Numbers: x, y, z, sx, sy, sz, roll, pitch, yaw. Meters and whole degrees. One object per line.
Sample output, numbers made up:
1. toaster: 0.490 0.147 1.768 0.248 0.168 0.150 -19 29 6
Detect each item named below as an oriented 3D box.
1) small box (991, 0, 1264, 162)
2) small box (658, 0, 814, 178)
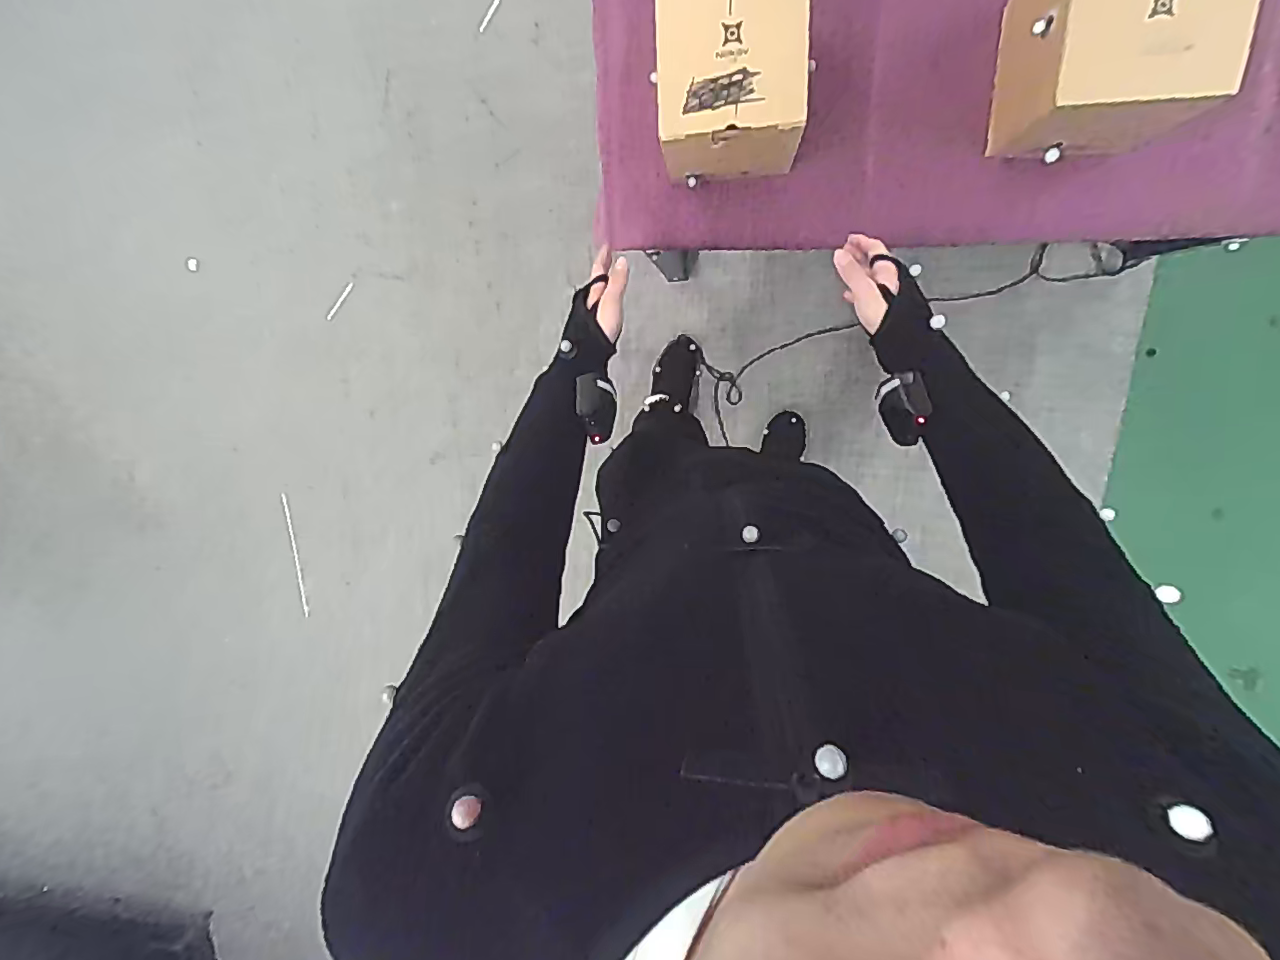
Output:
1. small box: 0.524 -0.481 0.602 0.168 0.176 0.179 3 103 8
2. small box: 0.113 -0.486 0.658 0.168 0.176 0.179 -1 102 8
